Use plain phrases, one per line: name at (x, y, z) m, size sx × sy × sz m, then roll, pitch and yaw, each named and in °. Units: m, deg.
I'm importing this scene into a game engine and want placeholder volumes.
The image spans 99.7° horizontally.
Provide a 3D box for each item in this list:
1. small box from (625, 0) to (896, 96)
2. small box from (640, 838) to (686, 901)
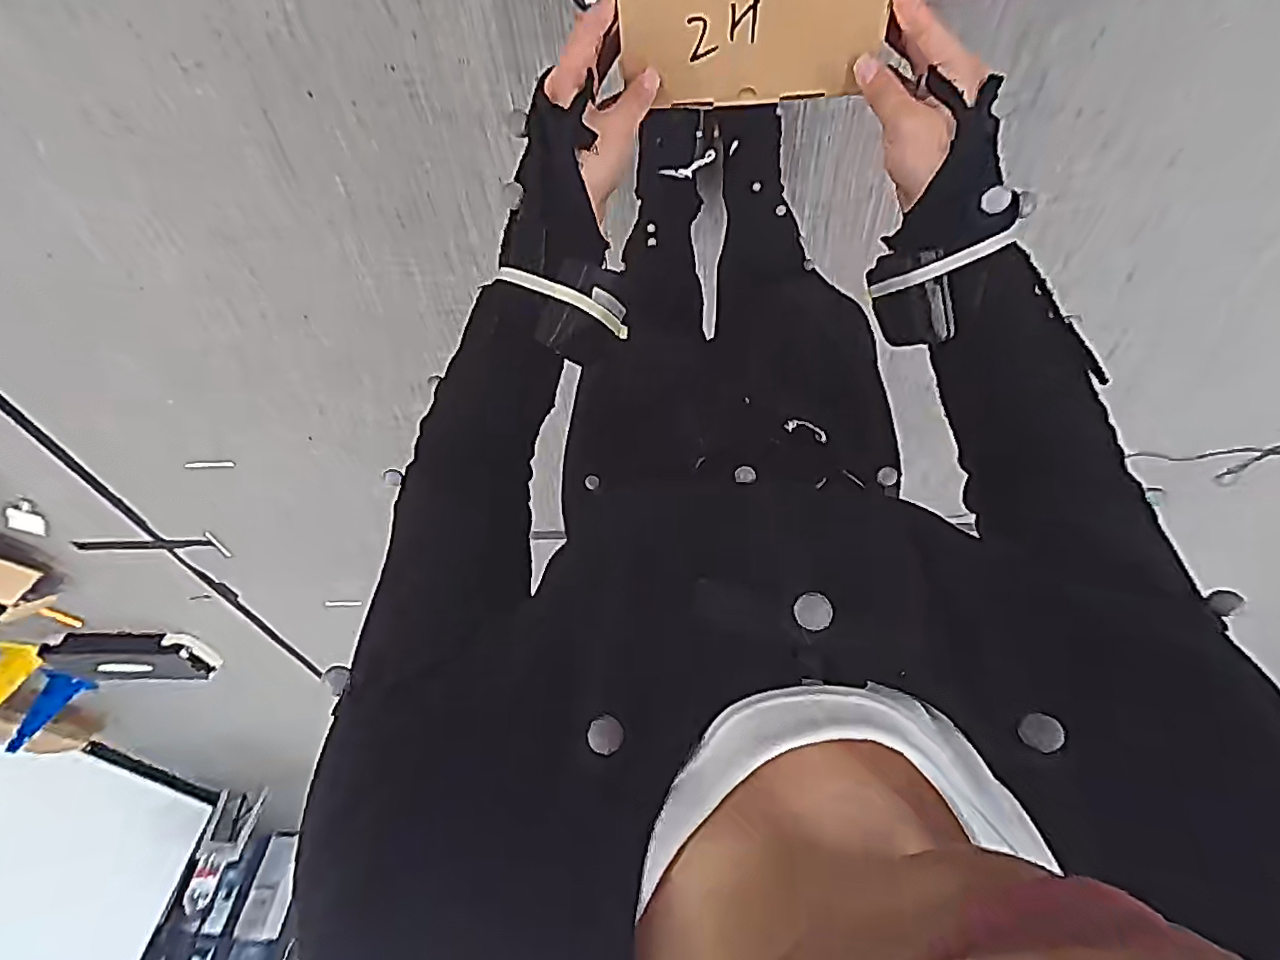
small box at (0.075, -0.377, 0.354) m, size 0.168 × 0.176 × 0.179 m, roll 1°, pitch 136°, yaw 6°
small box at (0.084, 1.468, 2.033) m, size 0.168 × 0.176 × 0.179 m, roll 0°, pitch 135°, yaw 0°
